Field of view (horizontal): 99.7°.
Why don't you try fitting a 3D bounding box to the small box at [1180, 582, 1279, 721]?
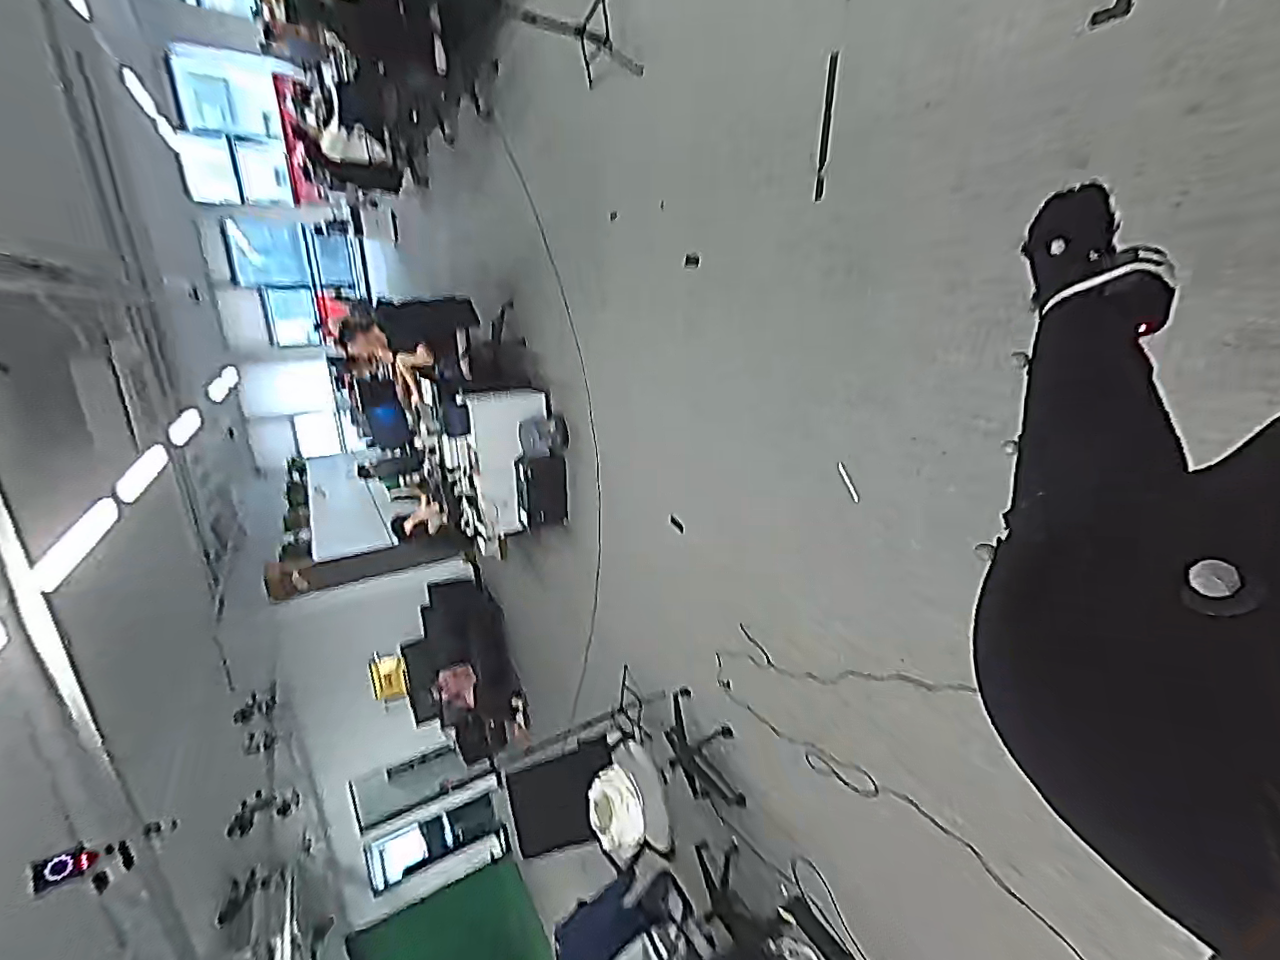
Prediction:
[{"bbox_3d":[1.163,0.319,1.047,0.179,0.176,0.168,31,126,53],"label":"small box"}]
